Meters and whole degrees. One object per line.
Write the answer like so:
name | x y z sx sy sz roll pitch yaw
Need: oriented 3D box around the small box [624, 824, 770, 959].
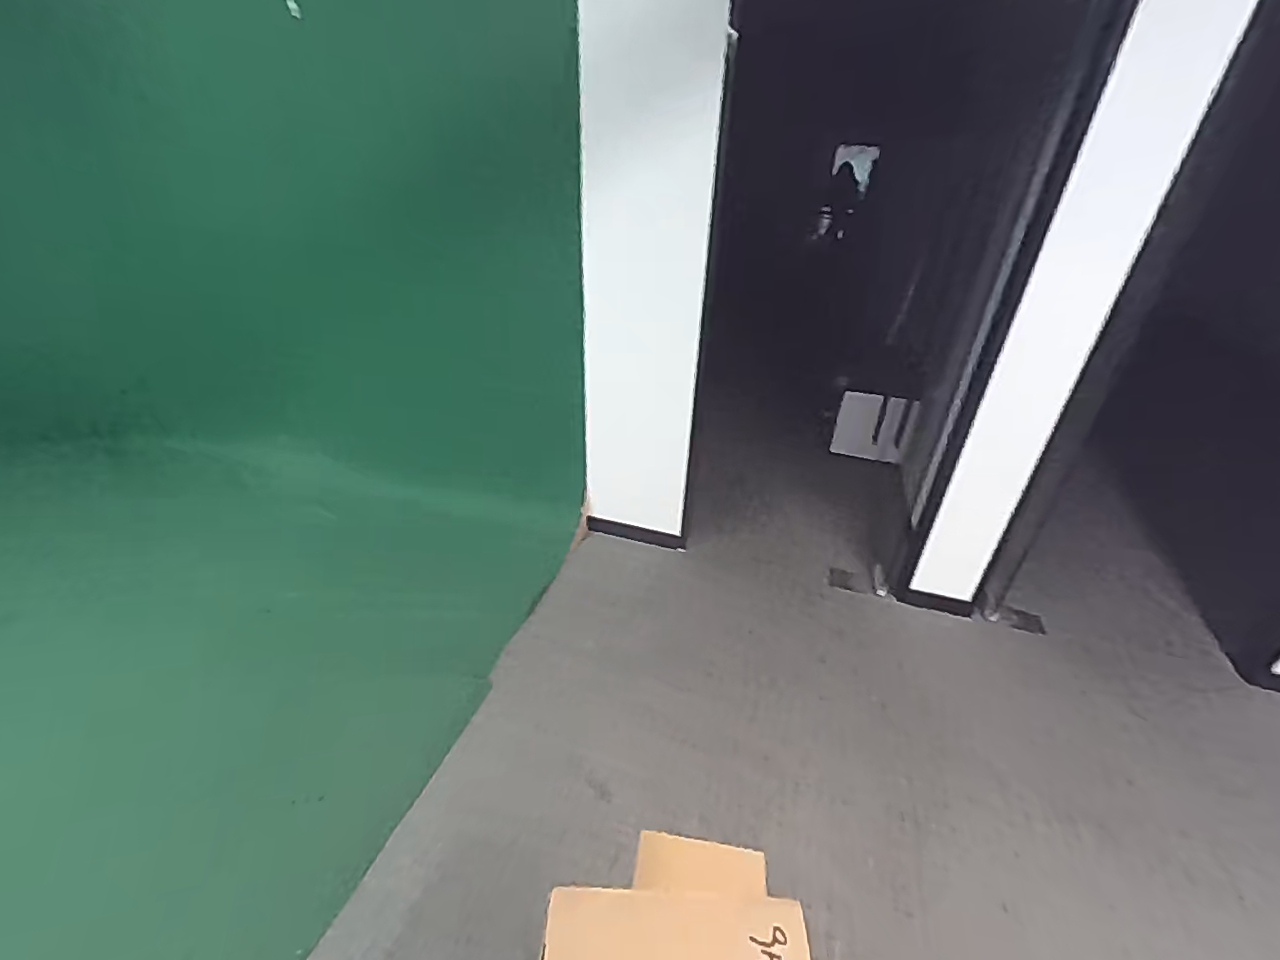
small box | 0.068 0.589 0.693 0.168 0.176 0.179 8 33 6
